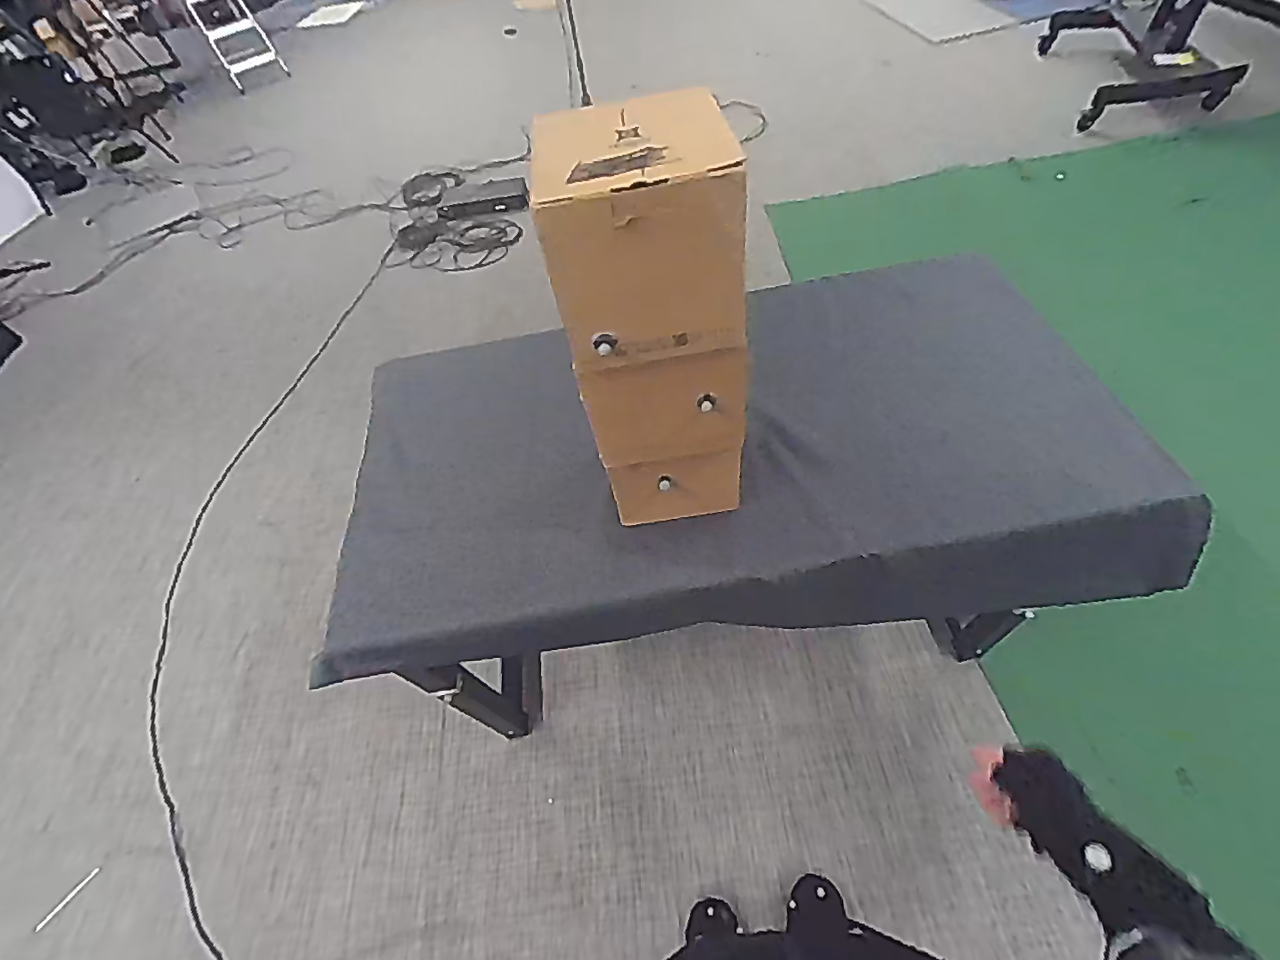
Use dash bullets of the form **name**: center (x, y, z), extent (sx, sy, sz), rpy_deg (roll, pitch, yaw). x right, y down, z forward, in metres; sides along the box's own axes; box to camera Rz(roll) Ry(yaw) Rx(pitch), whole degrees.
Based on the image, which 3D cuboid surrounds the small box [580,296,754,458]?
- **small box**: center (0.023, -0.149, 0.638), extent (0.179, 0.176, 0.168), rpy_deg (-12, 54, 0)

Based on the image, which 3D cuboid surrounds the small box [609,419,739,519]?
- **small box**: center (0.042, -0.061, 0.796), extent (0.179, 0.176, 0.168), rpy_deg (-11, 53, 0)

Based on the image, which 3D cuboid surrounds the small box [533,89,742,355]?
- **small box**: center (0.001, -0.235, 0.519), extent (0.168, 0.176, 0.179), rpy_deg (-9, 52, 2)
